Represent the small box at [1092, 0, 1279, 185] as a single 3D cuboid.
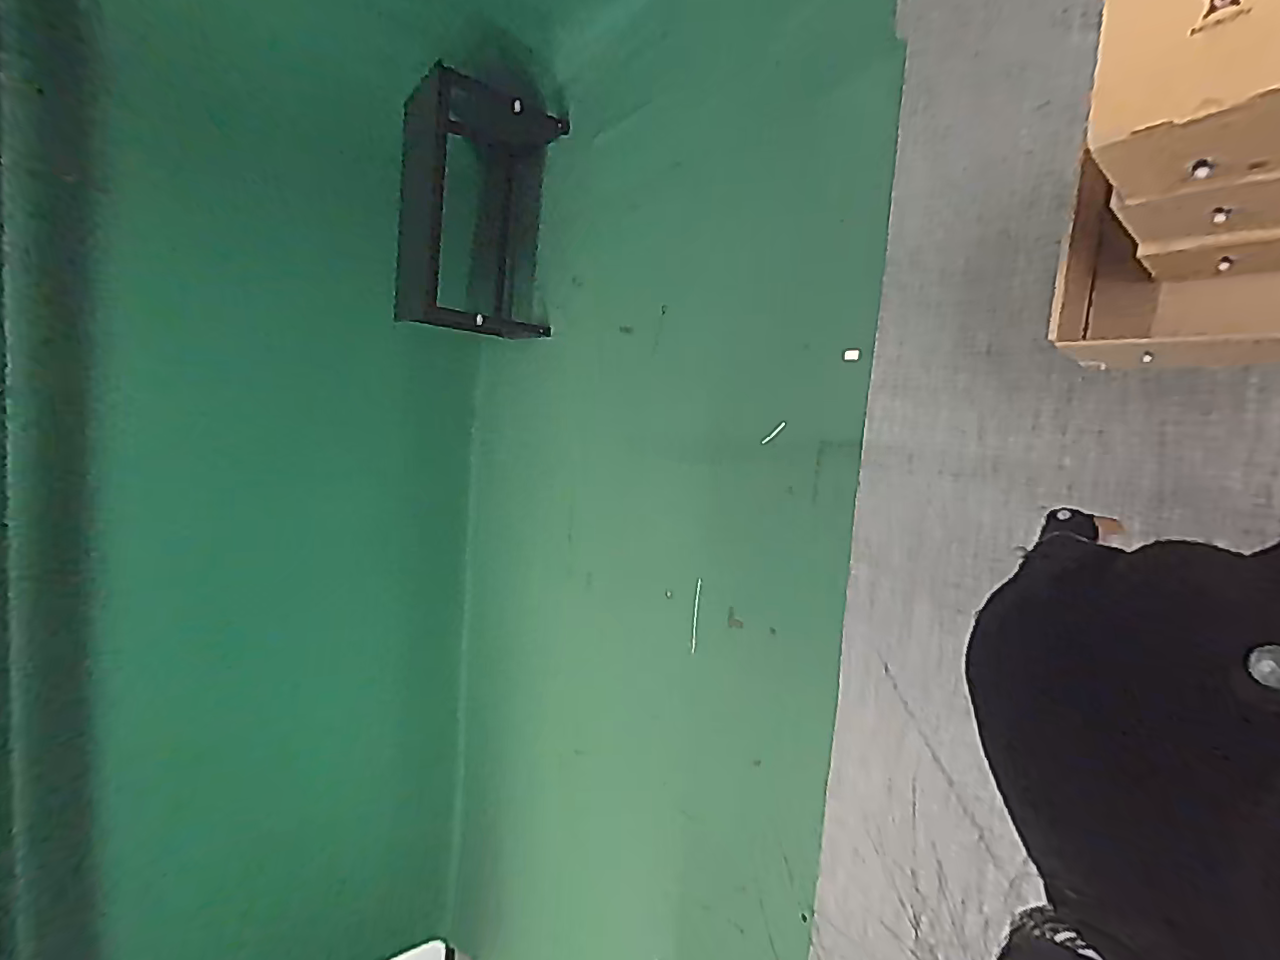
[{"bbox_3d":[0.551,-0.410,0.498,0.168,0.176,0.179,9,98,52],"label":"small box"}]
